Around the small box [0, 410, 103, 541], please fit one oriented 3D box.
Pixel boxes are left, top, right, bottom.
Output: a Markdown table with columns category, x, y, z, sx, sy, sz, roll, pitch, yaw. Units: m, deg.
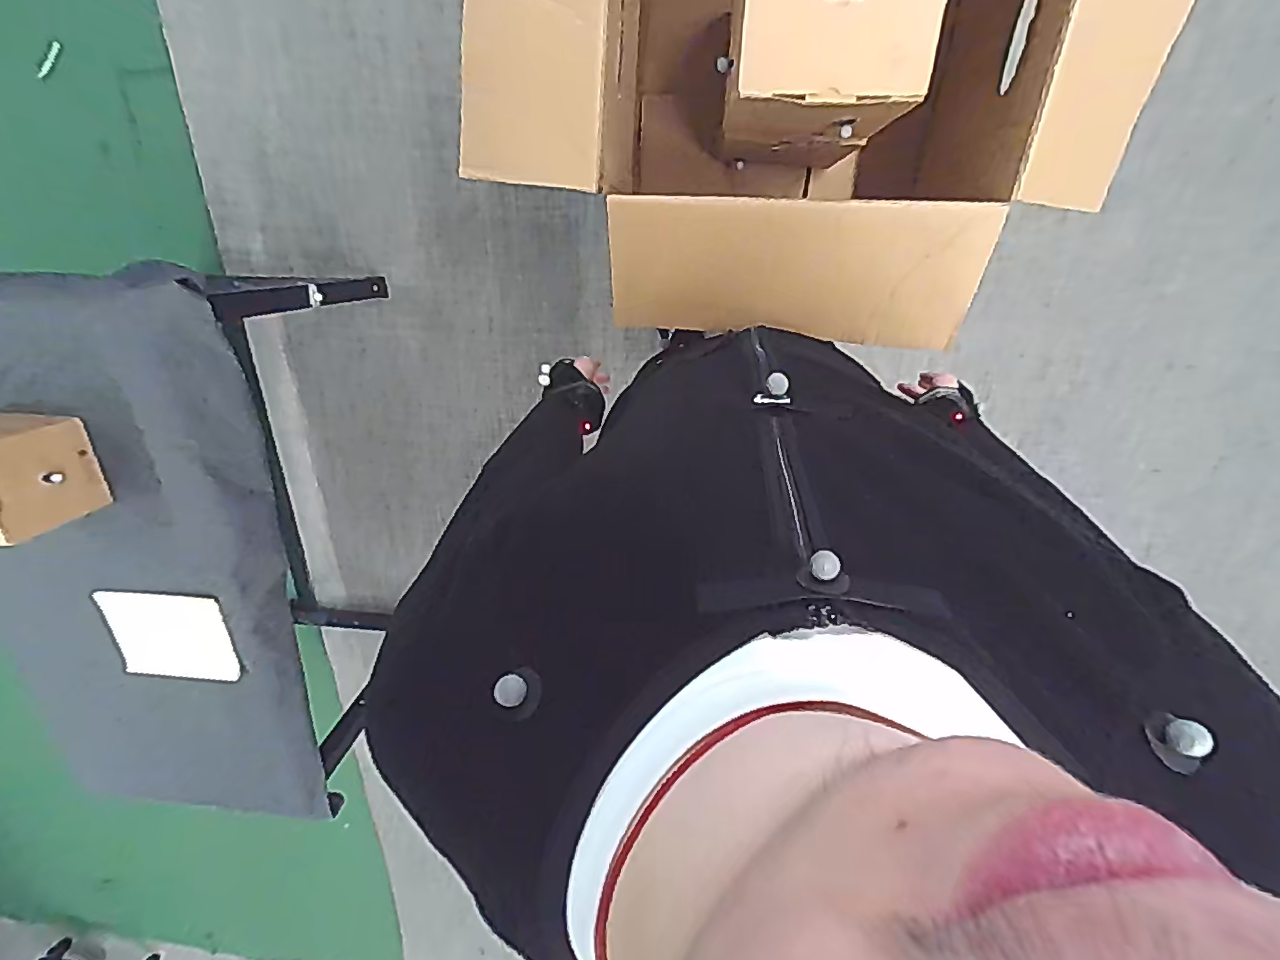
| category | x | y | z | sx | sy | sz | roll | pitch | yaw |
| --- | --- | --- | --- | --- | --- | --- | --- | --- | --- |
| small box | -1.055 | -0.014 | 0.894 | 0.179 | 0.176 | 0.168 | 3 | 113 | 4 |
